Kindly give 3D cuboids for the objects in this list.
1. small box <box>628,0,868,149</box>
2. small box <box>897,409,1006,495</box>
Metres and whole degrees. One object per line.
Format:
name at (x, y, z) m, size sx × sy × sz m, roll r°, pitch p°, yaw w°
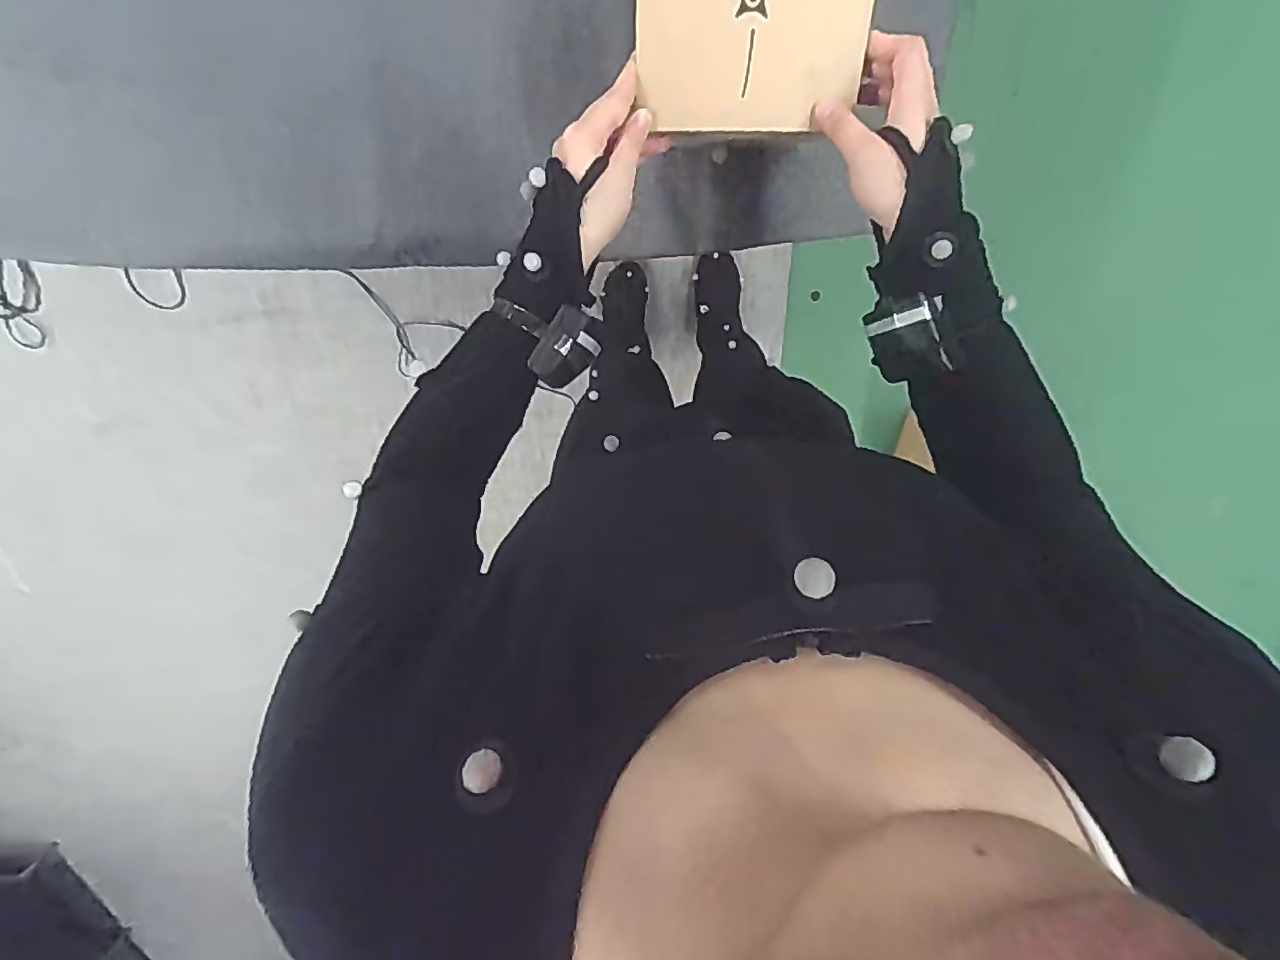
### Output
small box at (0.076, -0.376, 0.434) m, size 0.168 × 0.176 × 0.179 m, roll 2°, pitch 119°, yaw 2°
small box at (0.788, -0.068, 1.391) m, size 0.168 × 0.176 × 0.179 m, roll 5°, pitch 117°, yaw 0°
